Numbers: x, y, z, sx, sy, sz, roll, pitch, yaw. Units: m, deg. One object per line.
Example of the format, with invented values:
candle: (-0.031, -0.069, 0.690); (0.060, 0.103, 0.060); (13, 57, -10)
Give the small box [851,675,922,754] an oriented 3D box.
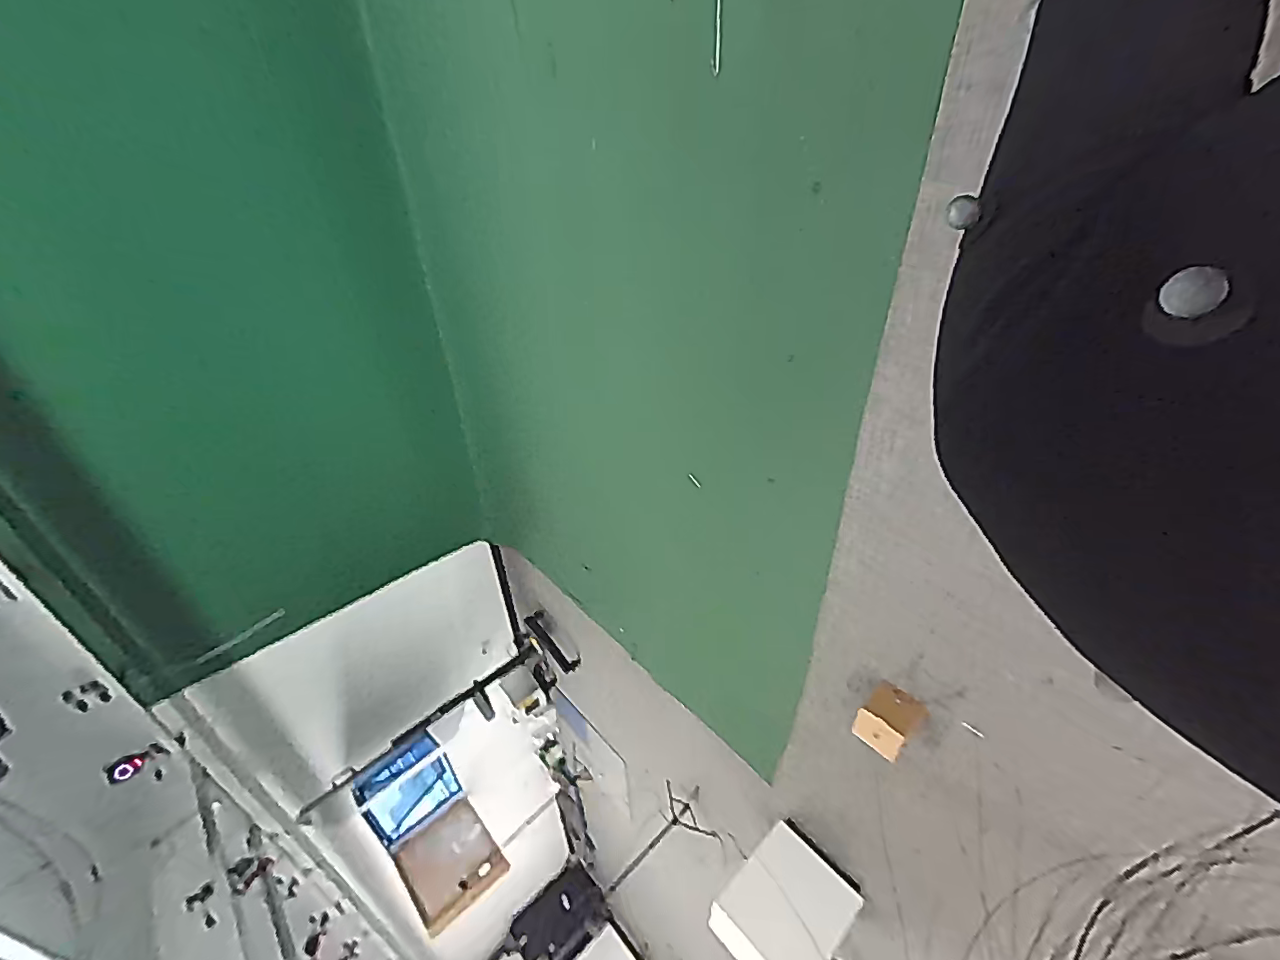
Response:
small box: (0.924, 0.872, 2.020); (0.168, 0.176, 0.179); (32, 137, 37)
